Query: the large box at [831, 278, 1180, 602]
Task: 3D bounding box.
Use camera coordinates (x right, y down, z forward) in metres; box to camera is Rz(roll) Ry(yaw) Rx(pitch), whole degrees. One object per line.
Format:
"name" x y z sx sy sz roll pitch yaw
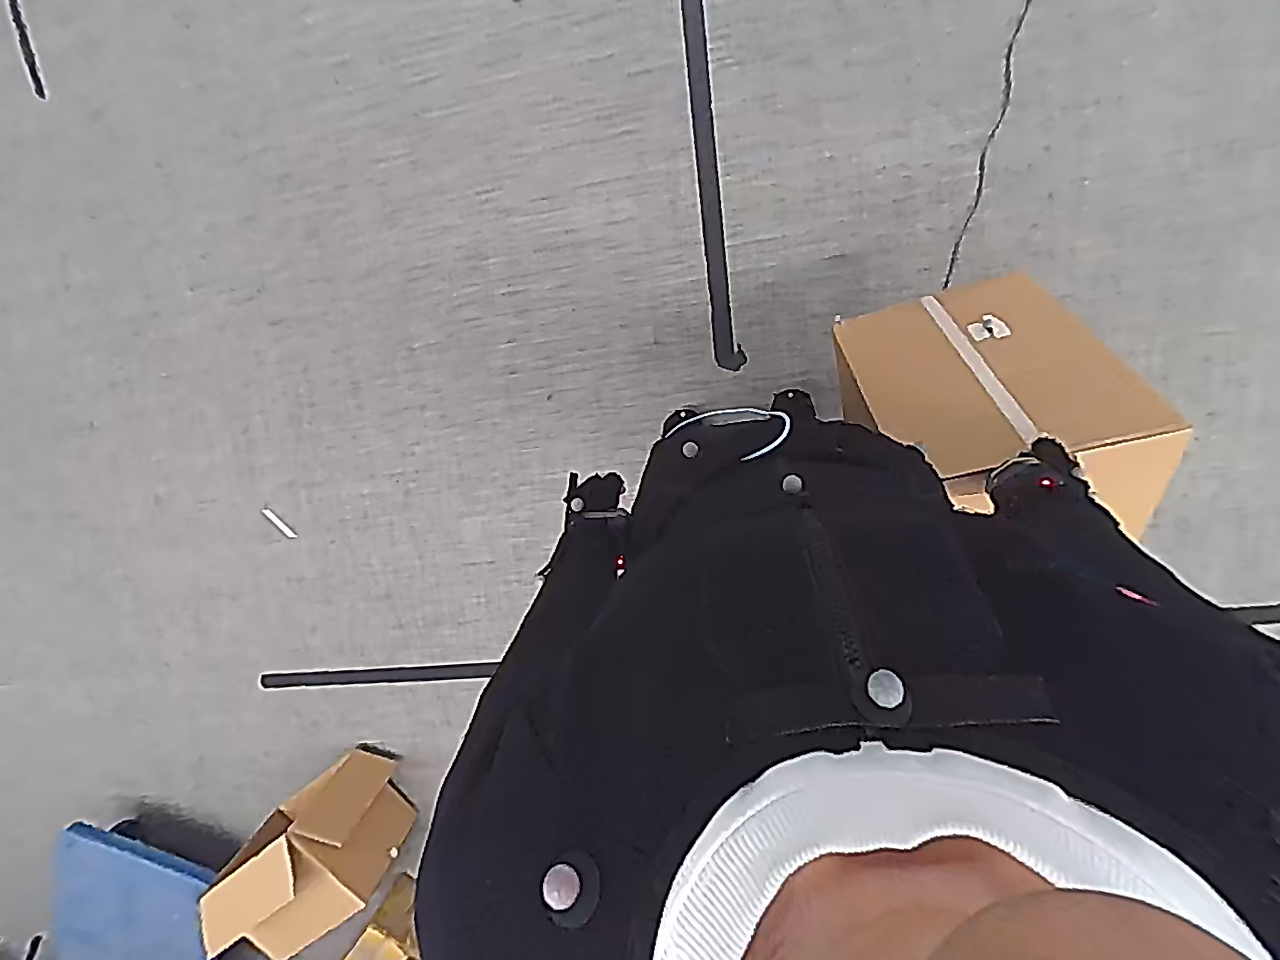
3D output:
"large box" 0.542 -0.067 0.905 0.320 0.408 0.320 -13 133 13
